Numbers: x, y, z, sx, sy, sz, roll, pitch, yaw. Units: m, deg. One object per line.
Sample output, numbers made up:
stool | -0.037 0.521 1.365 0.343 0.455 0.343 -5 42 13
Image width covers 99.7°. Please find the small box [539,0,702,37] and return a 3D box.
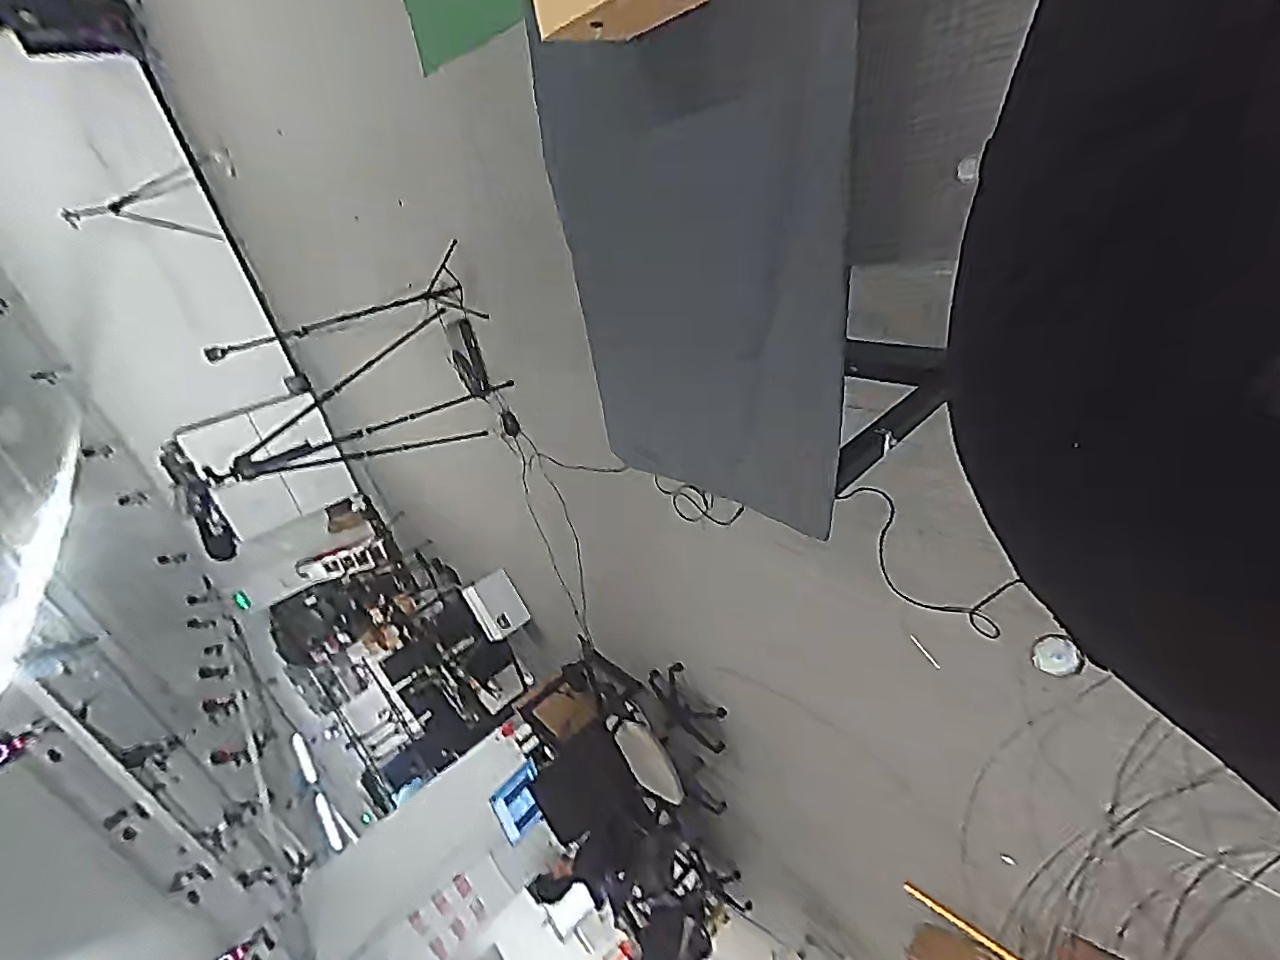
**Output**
small box | -0.030 -0.704 0.705 0.179 0.176 0.168 20 132 45
